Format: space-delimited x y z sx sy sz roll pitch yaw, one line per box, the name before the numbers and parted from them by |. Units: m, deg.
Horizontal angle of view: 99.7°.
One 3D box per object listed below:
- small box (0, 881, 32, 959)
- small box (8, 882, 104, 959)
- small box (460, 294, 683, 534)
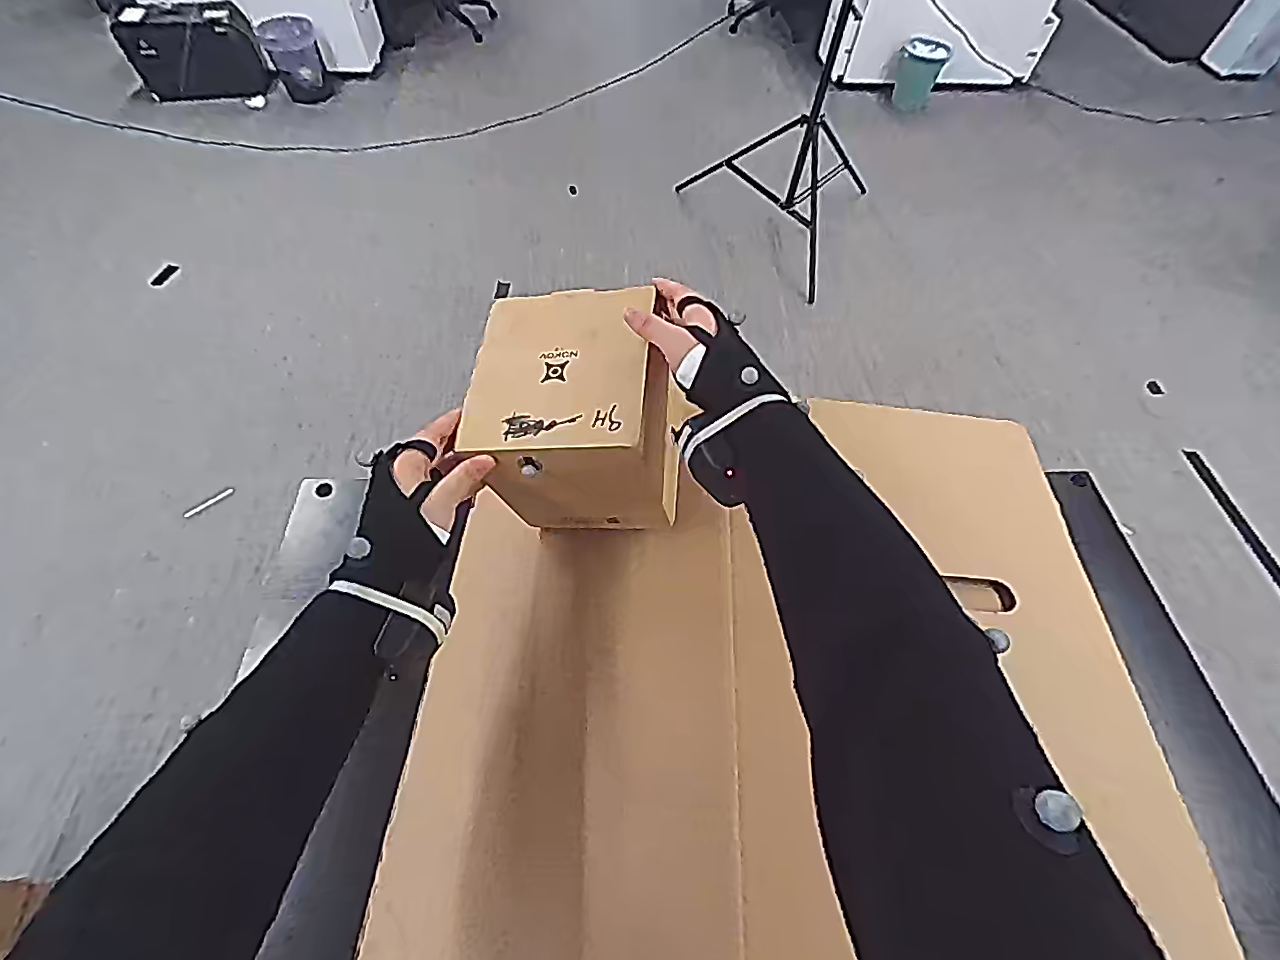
small box | -1.155 0.765 0.860 0.168 0.176 0.179 -6 57 -8
small box | -1.159 0.857 0.994 0.168 0.176 0.179 -4 58 -5
small box | -0.051 -0.059 0.552 0.168 0.176 0.179 -1 61 14
